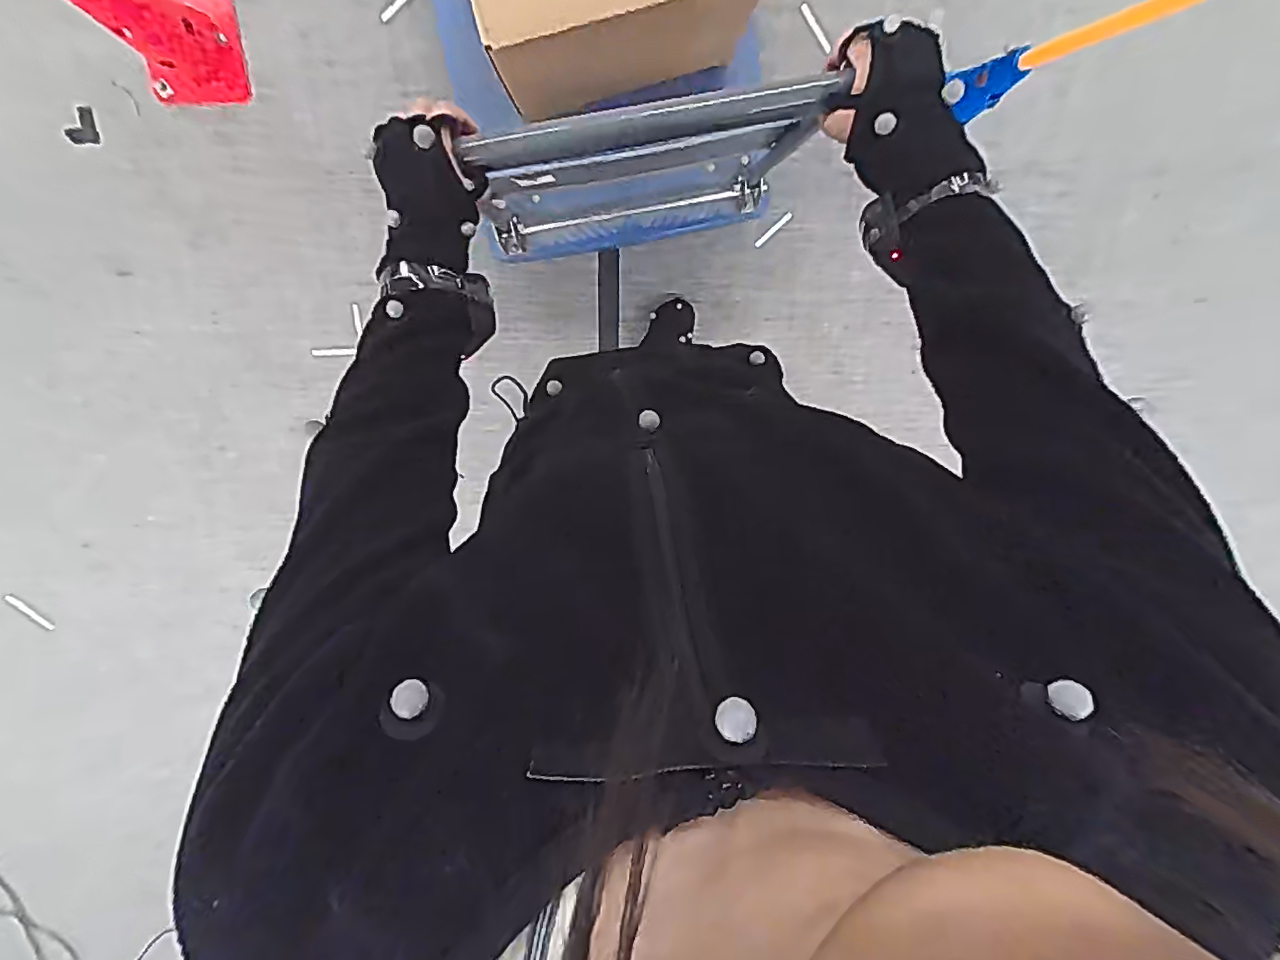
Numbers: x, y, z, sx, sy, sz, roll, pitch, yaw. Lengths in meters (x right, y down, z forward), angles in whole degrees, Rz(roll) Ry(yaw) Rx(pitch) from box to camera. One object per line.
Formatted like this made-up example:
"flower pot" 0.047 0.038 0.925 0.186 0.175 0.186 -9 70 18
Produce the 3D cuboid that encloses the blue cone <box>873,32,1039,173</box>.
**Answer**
"blue cone" 0.623 -0.750 1.055 0.193 0.380 0.192 -4 107 -2
